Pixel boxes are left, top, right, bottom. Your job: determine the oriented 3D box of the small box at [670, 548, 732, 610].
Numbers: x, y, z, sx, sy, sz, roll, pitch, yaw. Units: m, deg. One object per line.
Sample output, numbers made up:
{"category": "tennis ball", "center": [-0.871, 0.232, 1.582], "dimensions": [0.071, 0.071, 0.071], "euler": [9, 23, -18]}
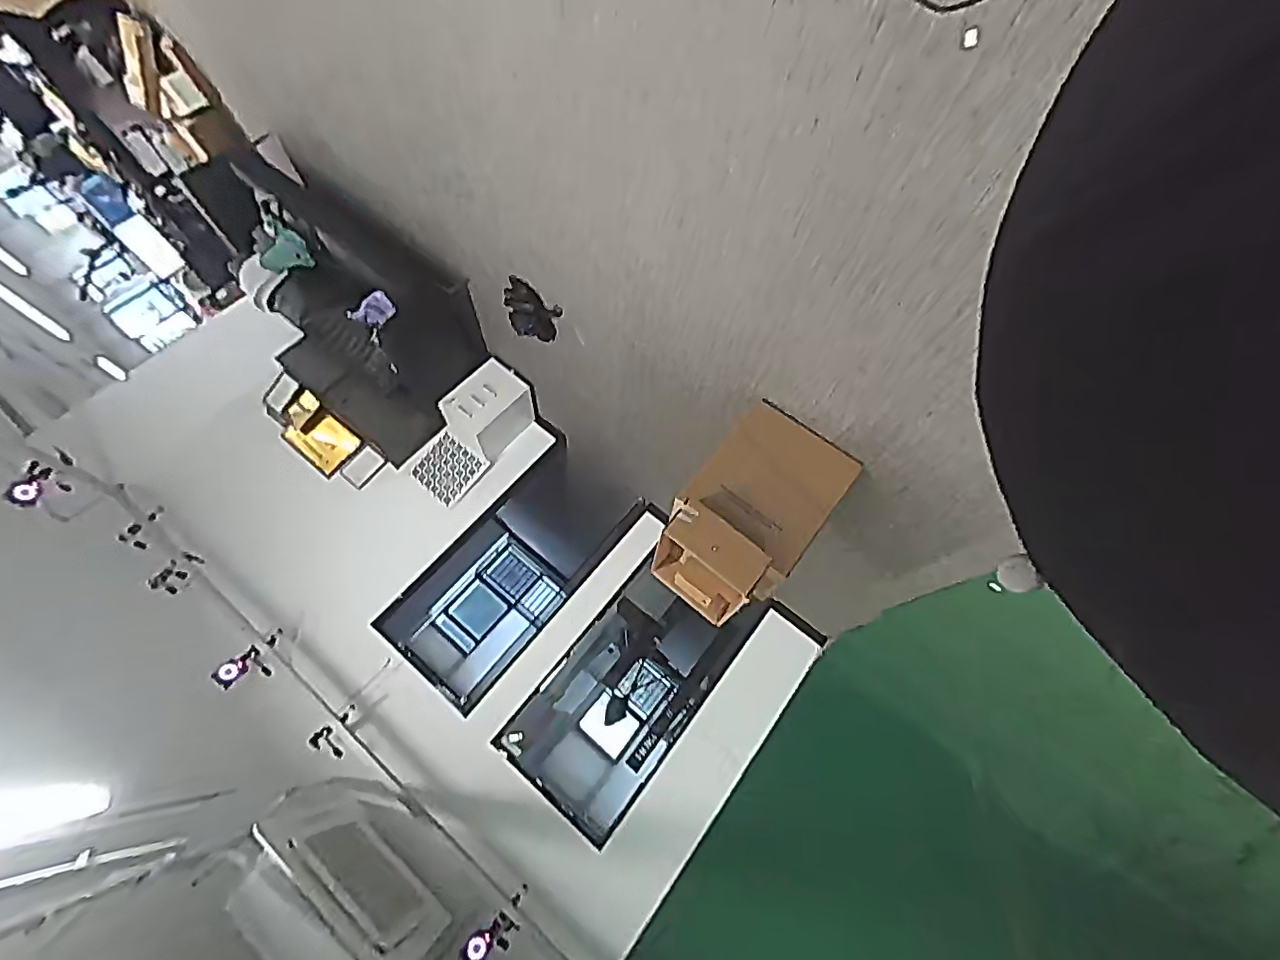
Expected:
{"category": "small box", "center": [0.247, 0.400, 2.217], "dimensions": [0.179, 0.176, 0.168], "euler": [39, 161, 15]}
